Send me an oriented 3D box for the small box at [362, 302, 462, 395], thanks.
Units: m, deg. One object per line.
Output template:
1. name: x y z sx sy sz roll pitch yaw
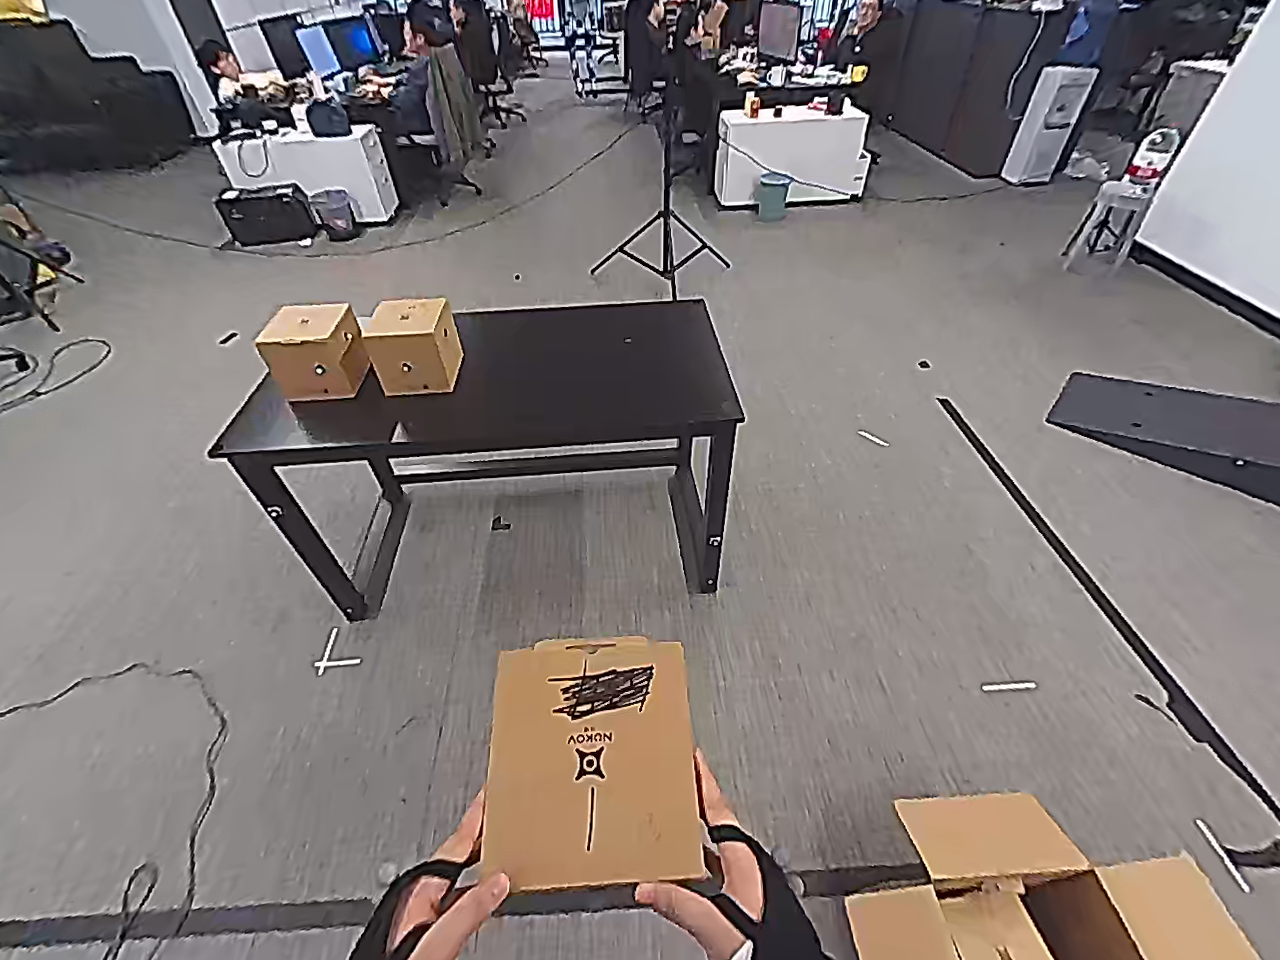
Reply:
1. small box: -0.556 -0.323 1.348 0.168 0.176 0.179 -3 44 -2

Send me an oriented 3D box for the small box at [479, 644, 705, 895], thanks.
1. small box: -0.038 0.269 0.499 0.168 0.176 0.179 -3 53 -1

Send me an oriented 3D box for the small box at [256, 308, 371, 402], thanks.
1. small box: -0.795 -0.306 1.341 0.168 0.176 0.179 -4 43 -3
